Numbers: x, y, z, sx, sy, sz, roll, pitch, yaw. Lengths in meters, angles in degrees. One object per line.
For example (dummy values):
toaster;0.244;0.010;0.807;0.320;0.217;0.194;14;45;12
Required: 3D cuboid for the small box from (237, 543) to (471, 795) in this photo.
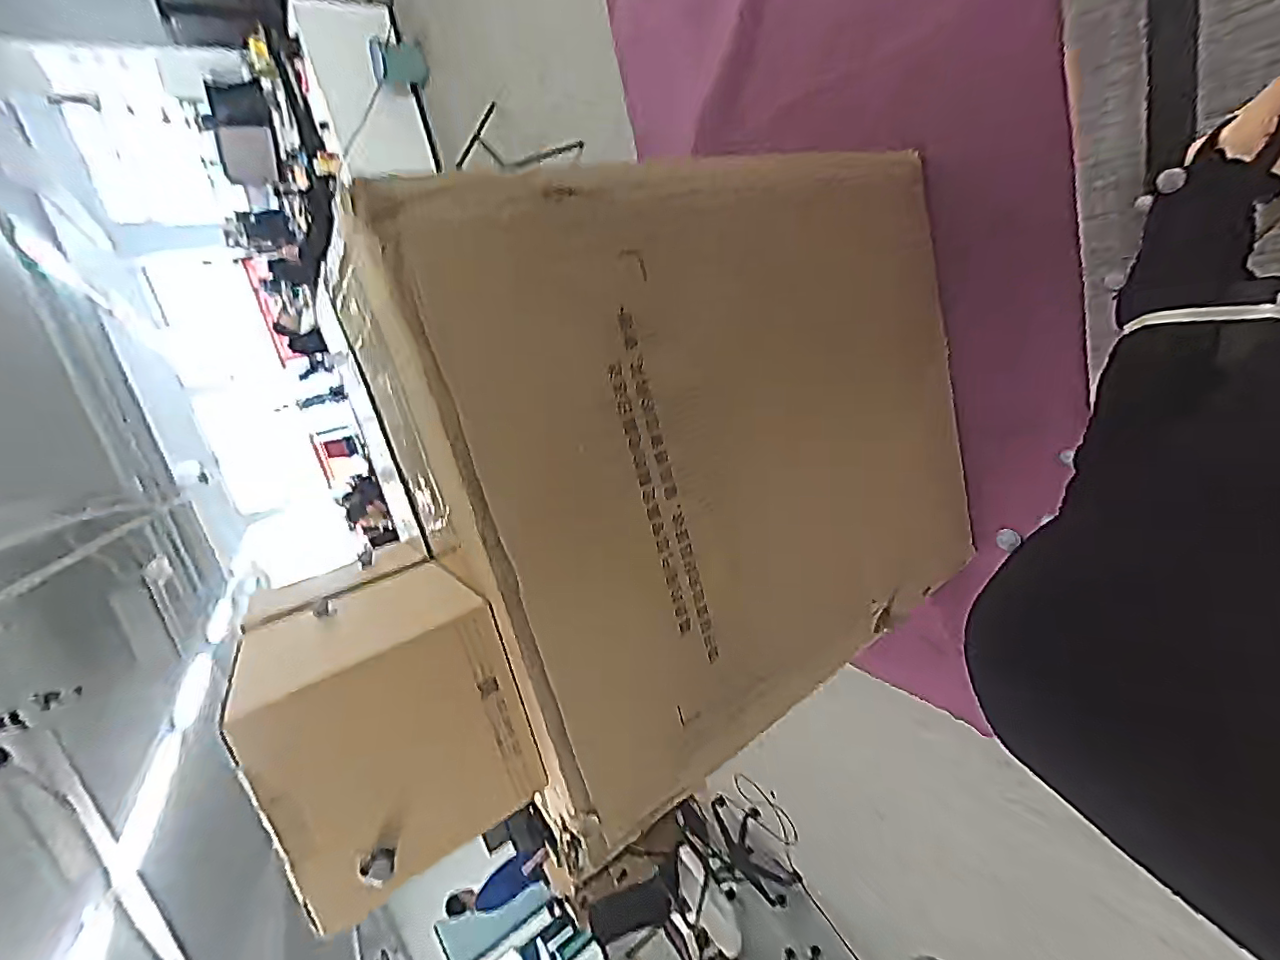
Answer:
small box;-0.304;0.187;0.595;0.168;0.176;0.179;0;108;58
